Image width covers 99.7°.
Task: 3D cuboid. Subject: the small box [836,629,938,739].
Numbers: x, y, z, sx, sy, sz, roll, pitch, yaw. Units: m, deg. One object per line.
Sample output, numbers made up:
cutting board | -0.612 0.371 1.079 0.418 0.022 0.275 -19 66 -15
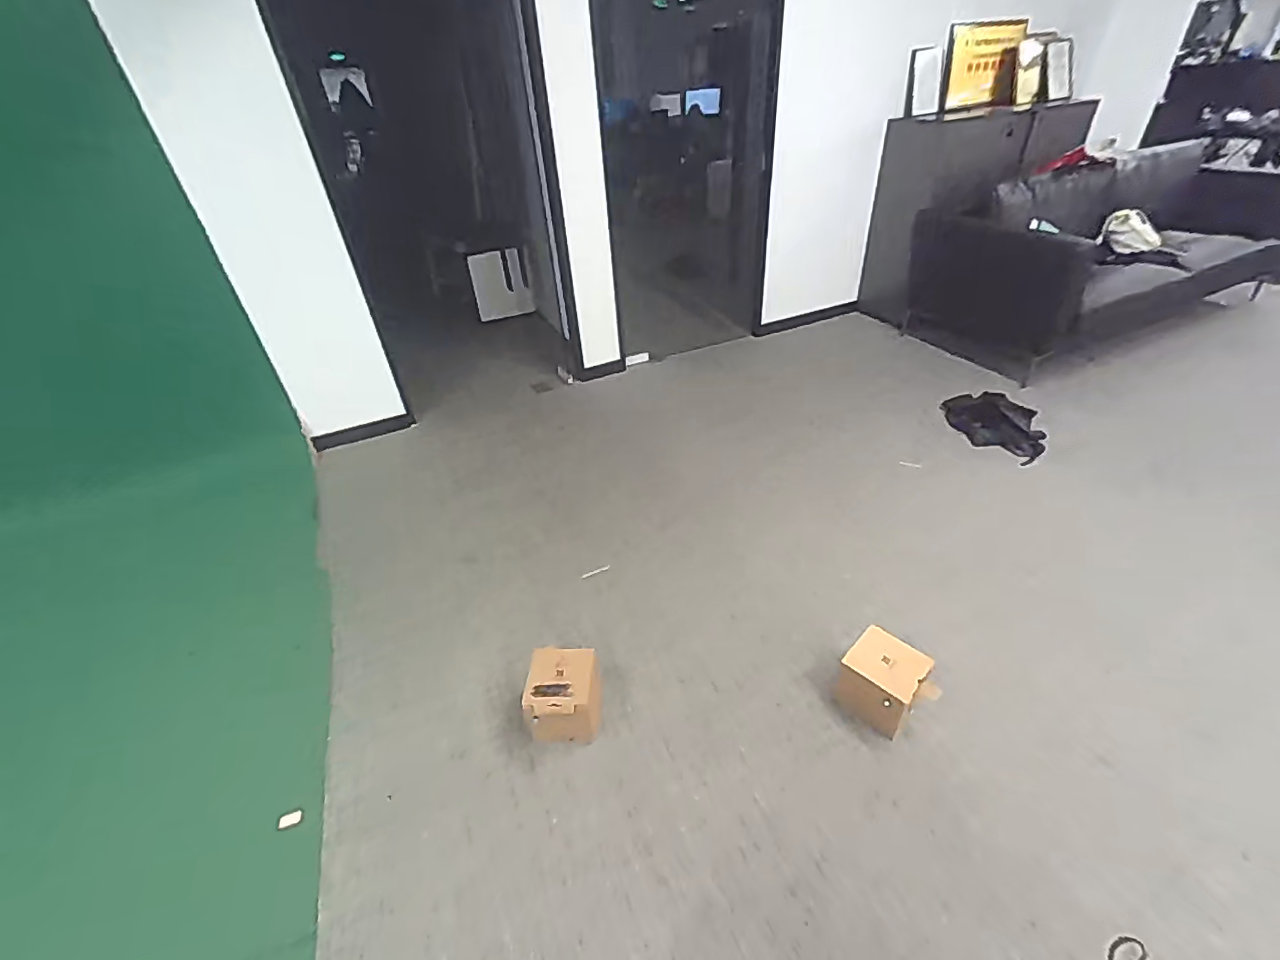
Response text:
small box | 0.639 0.535 1.419 0.168 0.176 0.179 -32 46 -32
